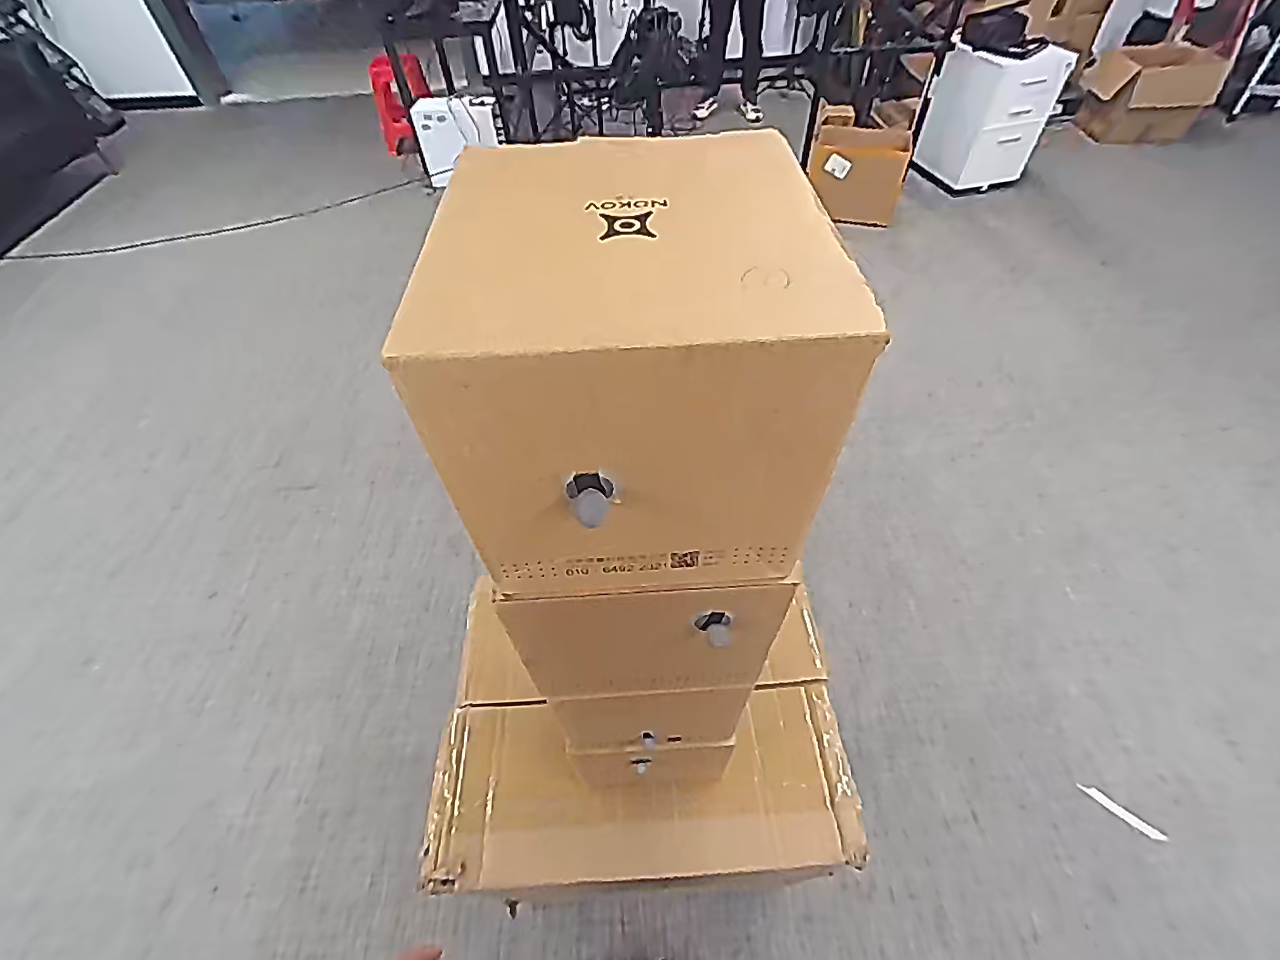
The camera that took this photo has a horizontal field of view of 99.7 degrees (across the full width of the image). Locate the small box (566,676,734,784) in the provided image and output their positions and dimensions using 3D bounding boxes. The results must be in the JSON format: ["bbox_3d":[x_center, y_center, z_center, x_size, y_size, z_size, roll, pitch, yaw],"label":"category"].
[{"bbox_3d":[0.010,0.263,0.663,0.179,0.176,0.168,-3,51,-1],"label":"small box"}]

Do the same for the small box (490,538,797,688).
[{"bbox_3d":[0.001,0.048,0.414,0.179,0.176,0.168,-4,50,0],"label":"small box"}]

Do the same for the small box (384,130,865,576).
[{"bbox_3d":[-0.006,-0.059,0.292,0.168,0.176,0.179,-4,50,-1],"label":"small box"}]
